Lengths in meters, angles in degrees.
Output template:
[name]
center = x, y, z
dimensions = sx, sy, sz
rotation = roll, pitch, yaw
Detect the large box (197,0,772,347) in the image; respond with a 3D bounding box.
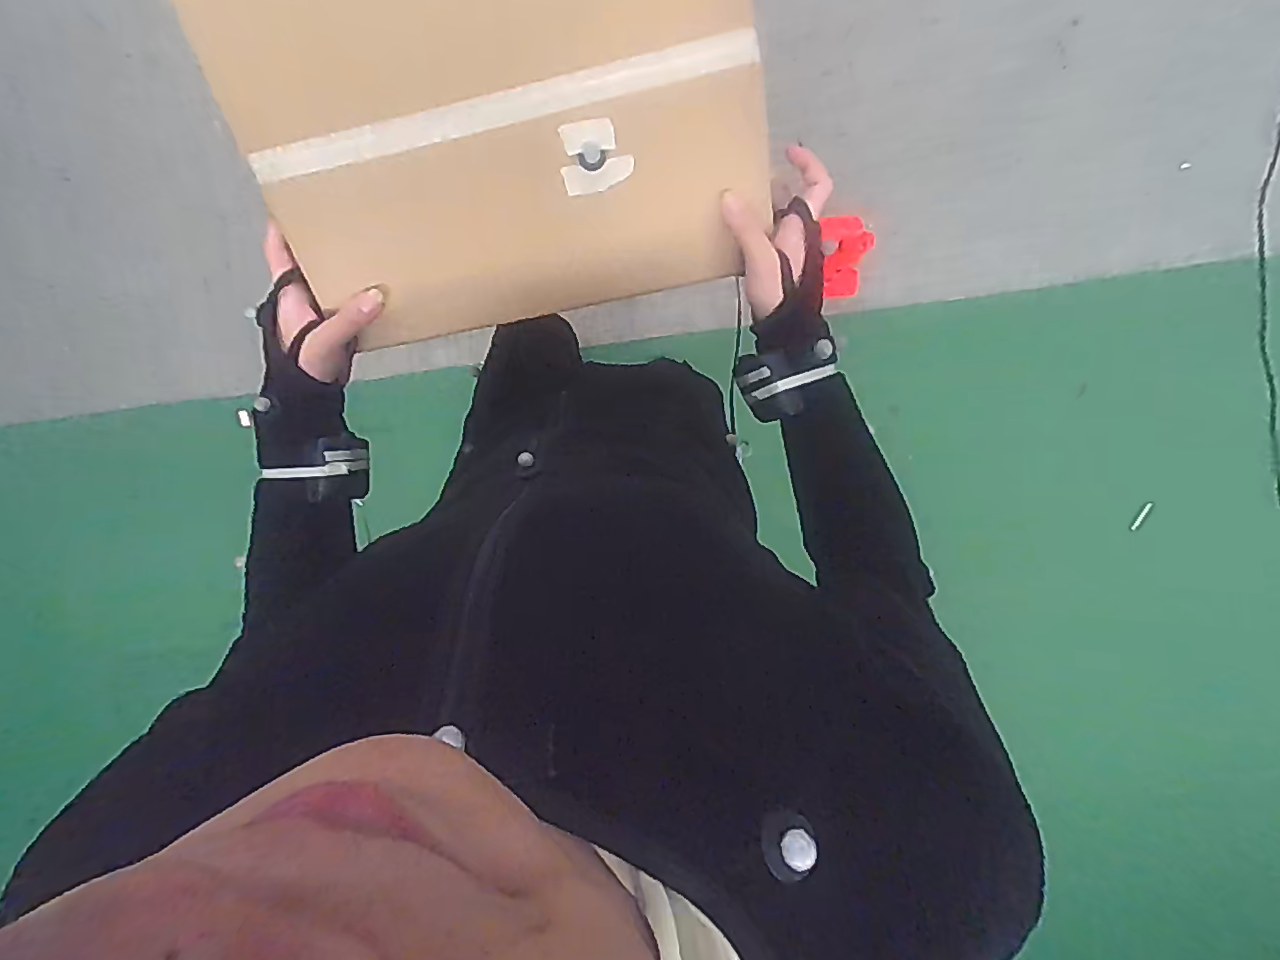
[large box]
center = -0.111, -0.362, 0.556
dimensions = 0.408, 0.320, 0.320
rotation = -10, 119, 4

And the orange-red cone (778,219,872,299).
[orange-red cone]
center = 0.465, -0.531, 1.267
dimensions = 0.199, 0.360, 0.198
rotation = 1, 108, 2
